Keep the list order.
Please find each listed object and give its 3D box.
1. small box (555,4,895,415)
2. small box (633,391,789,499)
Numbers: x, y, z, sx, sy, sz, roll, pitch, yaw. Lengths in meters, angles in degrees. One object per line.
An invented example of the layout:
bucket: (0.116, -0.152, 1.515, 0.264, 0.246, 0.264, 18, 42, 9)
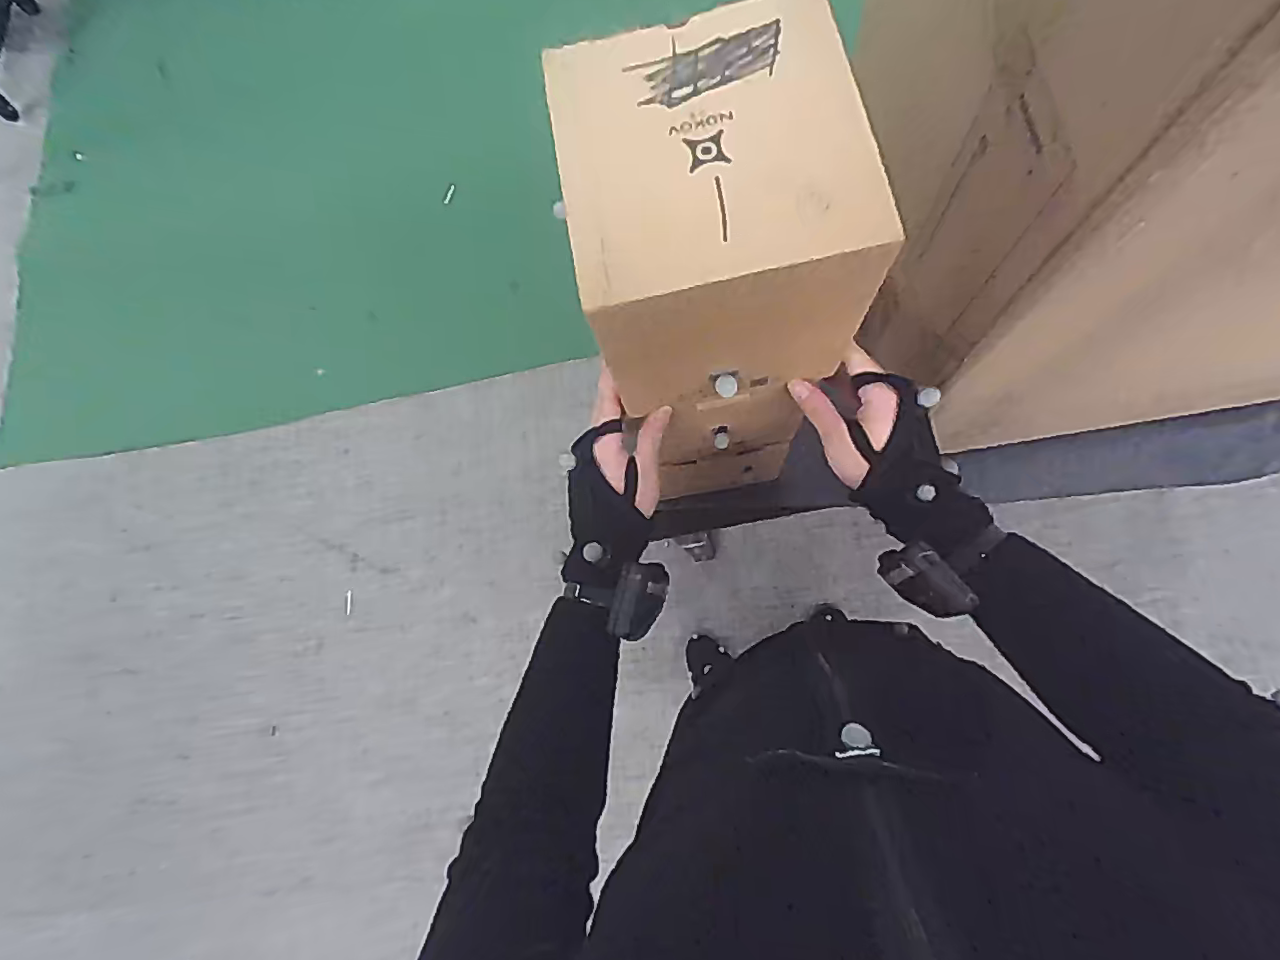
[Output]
small box: (0.049, -0.167, 0.382, 0.168, 0.176, 0.179, -11, 75, 6)
small box: (0.084, -0.081, 0.698, 0.168, 0.176, 0.179, -12, 73, 5)
